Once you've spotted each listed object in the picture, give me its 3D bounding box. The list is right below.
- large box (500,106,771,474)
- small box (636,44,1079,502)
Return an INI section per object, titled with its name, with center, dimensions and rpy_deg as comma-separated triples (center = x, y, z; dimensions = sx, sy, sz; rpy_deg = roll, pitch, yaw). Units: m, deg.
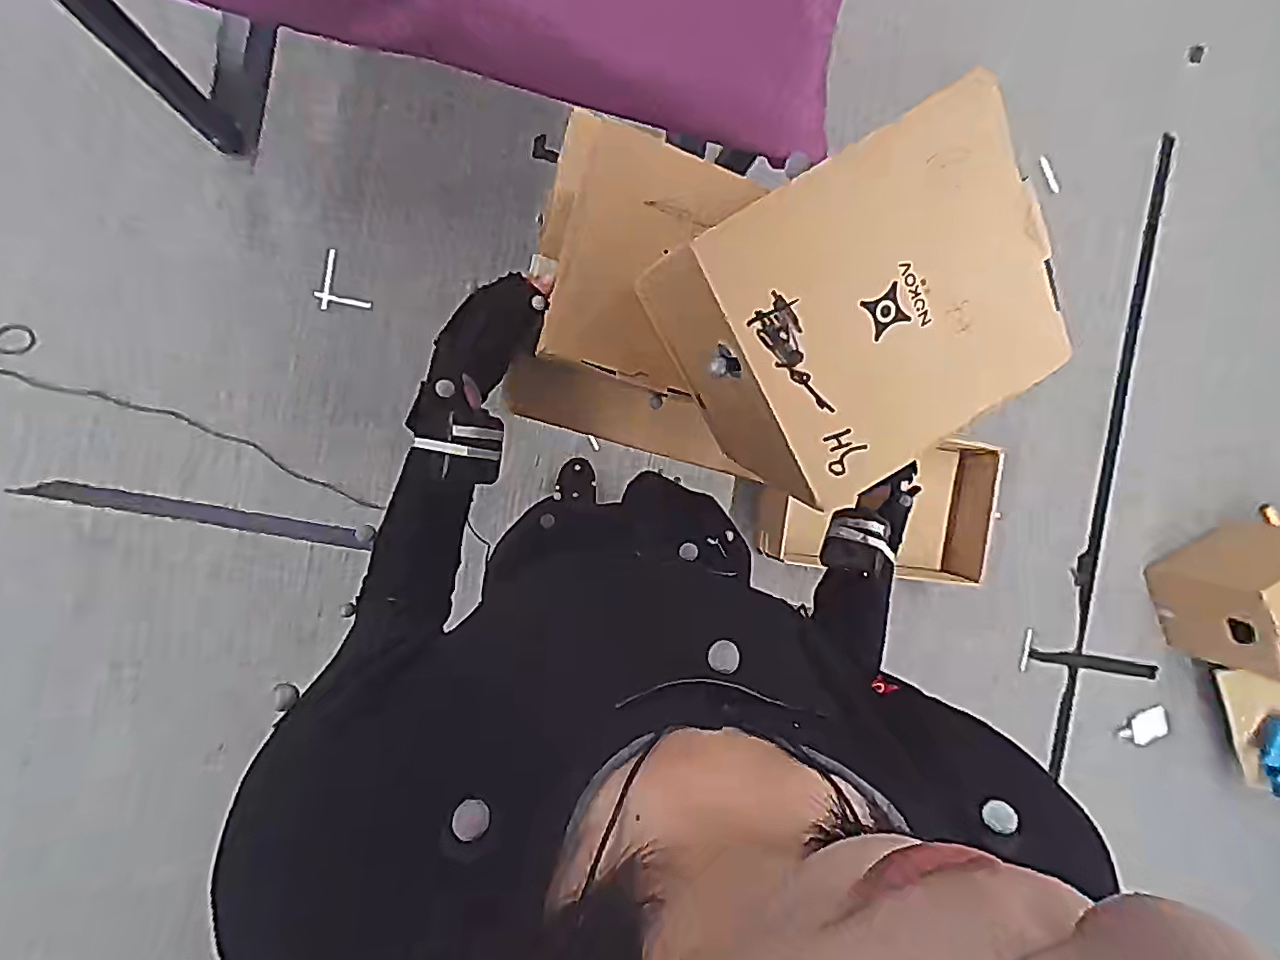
[large box]
center = 0.041, -0.211, 0.741
dimensions = 0.408, 0.320, 0.320
rpy_deg = 14, 98, -15
[small box]
center = 0.118, -0.116, 0.351
dimensions = 0.179, 0.176, 0.168
rpy_deg = -32, 106, -2
